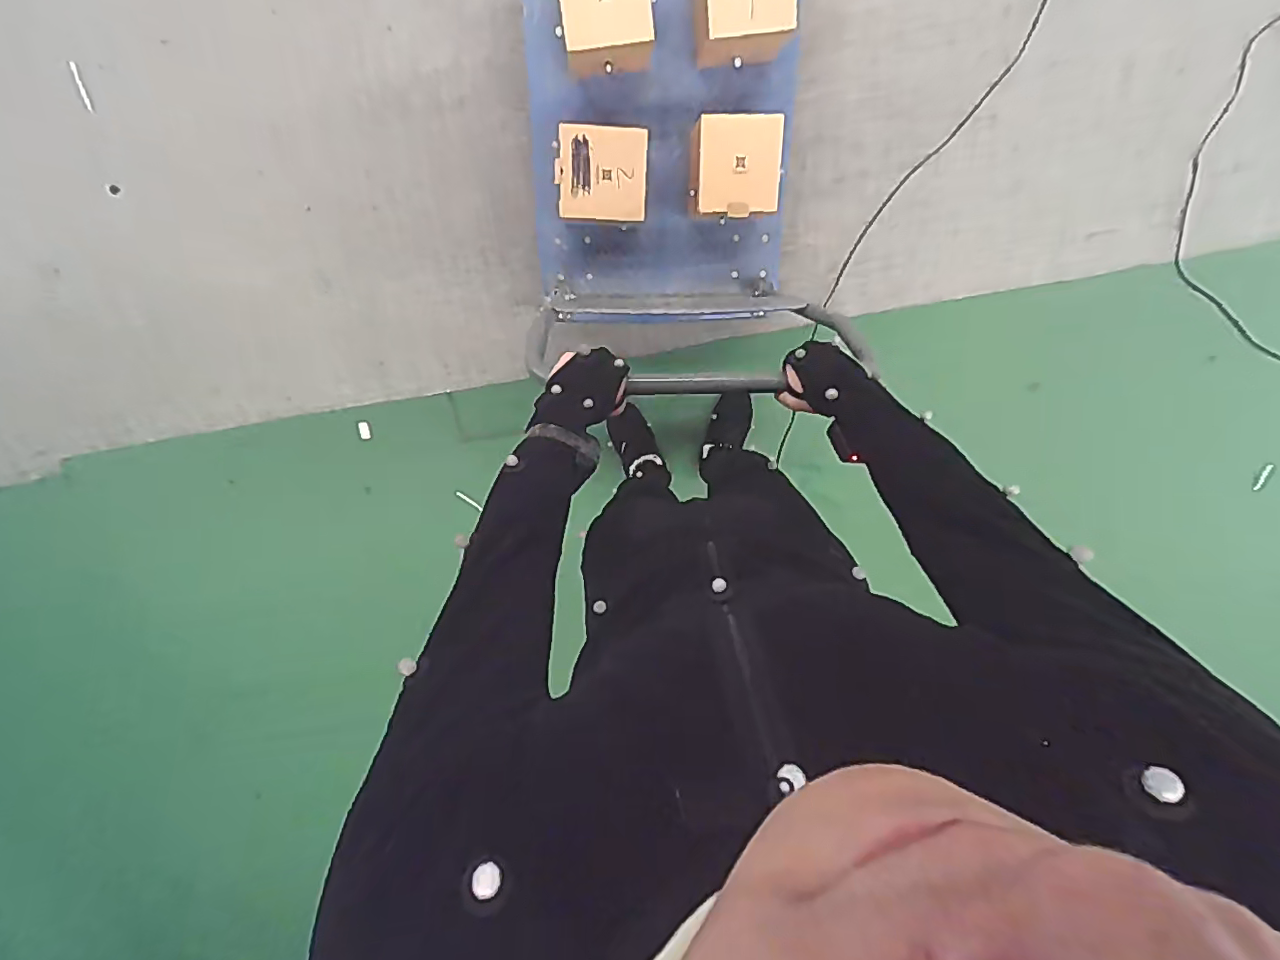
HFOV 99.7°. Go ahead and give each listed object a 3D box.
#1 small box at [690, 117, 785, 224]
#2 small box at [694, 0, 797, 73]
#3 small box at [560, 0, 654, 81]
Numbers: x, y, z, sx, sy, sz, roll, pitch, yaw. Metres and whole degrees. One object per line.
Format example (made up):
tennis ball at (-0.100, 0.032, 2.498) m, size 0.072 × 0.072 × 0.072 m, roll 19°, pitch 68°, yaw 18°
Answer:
small box at (0.201, -0.654, 1.158) m, size 0.168 × 0.176 × 0.179 m, roll -2°, pitch 111°, yaw -2°
small box at (0.199, -0.931, 1.051) m, size 0.168 × 0.176 × 0.179 m, roll -7°, pitch 112°, yaw 0°
small box at (-0.066, -0.904, 1.049) m, size 0.168 × 0.176 × 0.179 m, roll -8°, pitch 111°, yaw -1°
